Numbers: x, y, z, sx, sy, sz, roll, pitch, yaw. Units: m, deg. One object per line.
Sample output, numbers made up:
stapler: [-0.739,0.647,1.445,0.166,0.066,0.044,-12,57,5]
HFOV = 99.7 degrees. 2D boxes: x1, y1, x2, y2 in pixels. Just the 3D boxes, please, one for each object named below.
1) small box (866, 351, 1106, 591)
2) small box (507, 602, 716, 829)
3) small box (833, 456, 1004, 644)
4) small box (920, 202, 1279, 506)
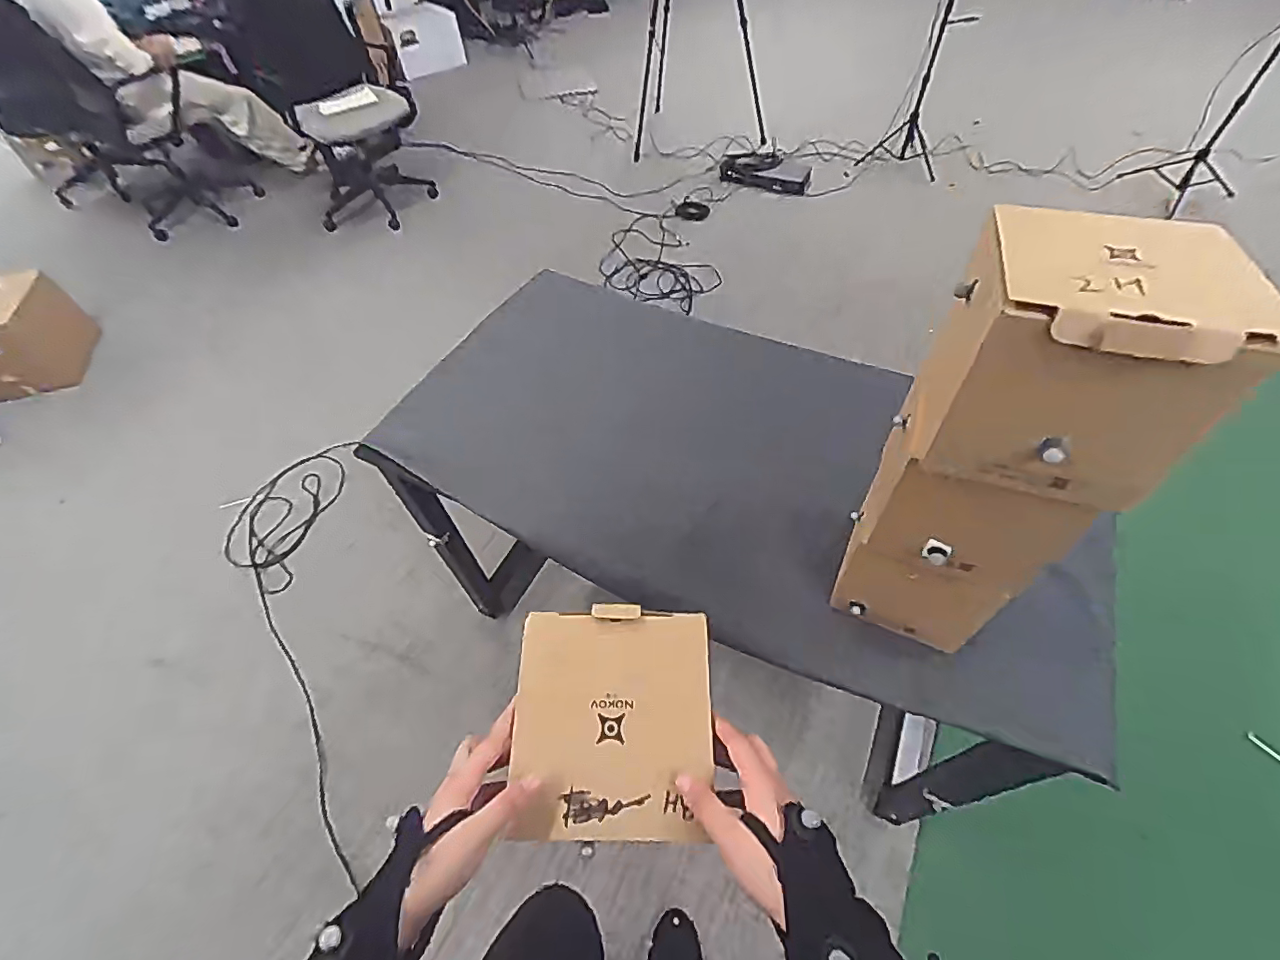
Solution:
small box: [0.363,-0.010,0.594,0.168,0.176,0.179,16,55,17]
small box: [-0.019,0.227,0.525,0.168,0.176,0.179,0,63,2]
small box: [0.371,0.089,0.722,0.168,0.176,0.179,21,54,19]
small box: [0.354,-0.108,0.460,0.168,0.176,0.179,14,53,16]
